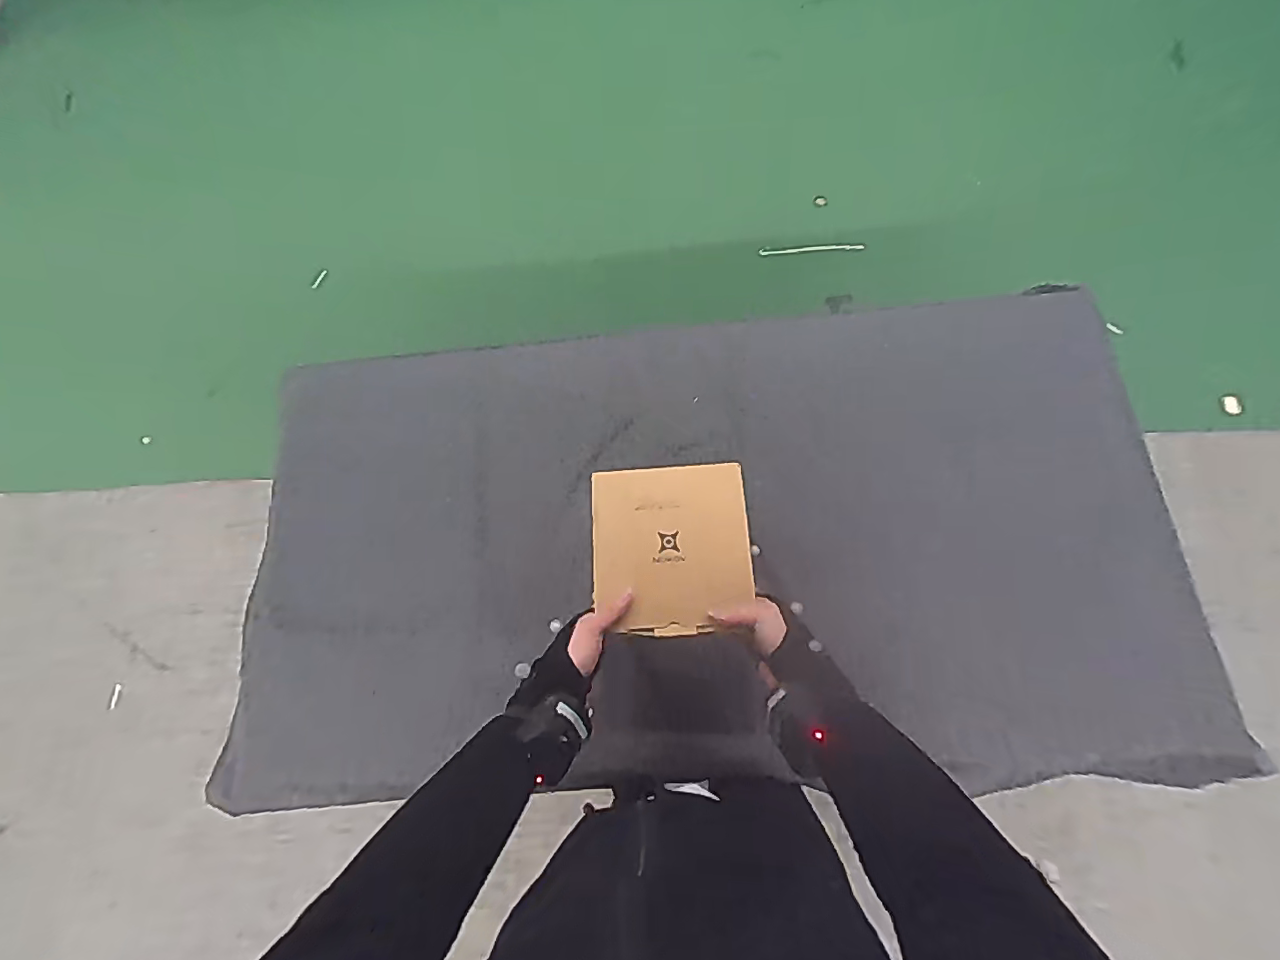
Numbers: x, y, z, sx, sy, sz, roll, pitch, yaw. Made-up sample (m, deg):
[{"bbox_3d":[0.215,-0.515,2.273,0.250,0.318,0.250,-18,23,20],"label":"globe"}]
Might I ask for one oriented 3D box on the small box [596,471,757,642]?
[{"bbox_3d":[0.041,0.100,0.652,0.168,0.176,0.179,-4,73,2],"label":"small box"}]
